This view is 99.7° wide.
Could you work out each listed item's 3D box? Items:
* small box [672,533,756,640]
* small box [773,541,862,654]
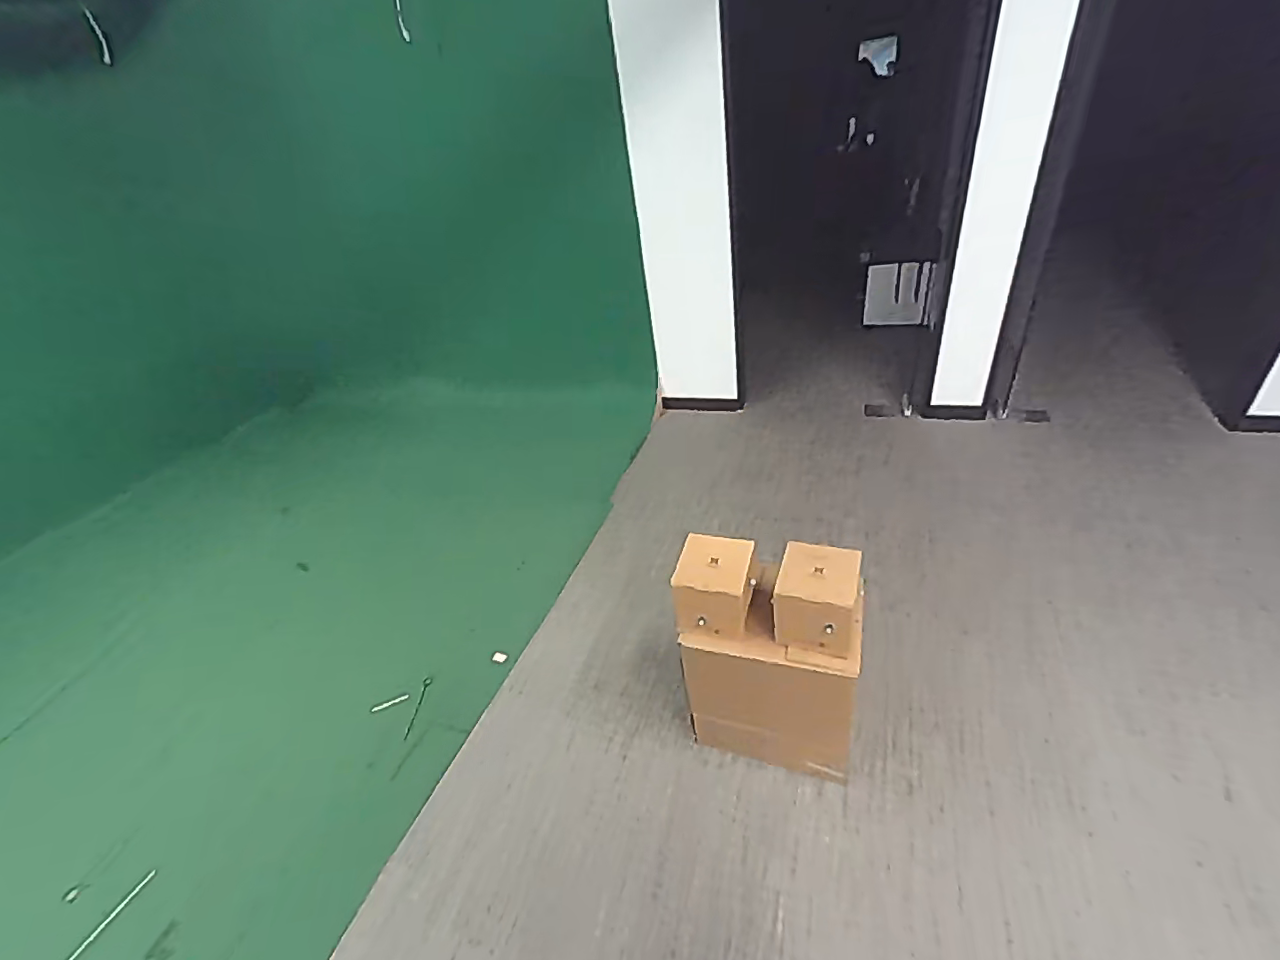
[{"bbox_3d":[0.185,0.256,1.313,0.168,0.176,0.179,5,39,19],"label":"small box"},{"bbox_3d":[0.408,0.267,1.235,0.168,0.176,0.179,6,37,24],"label":"small box"}]
